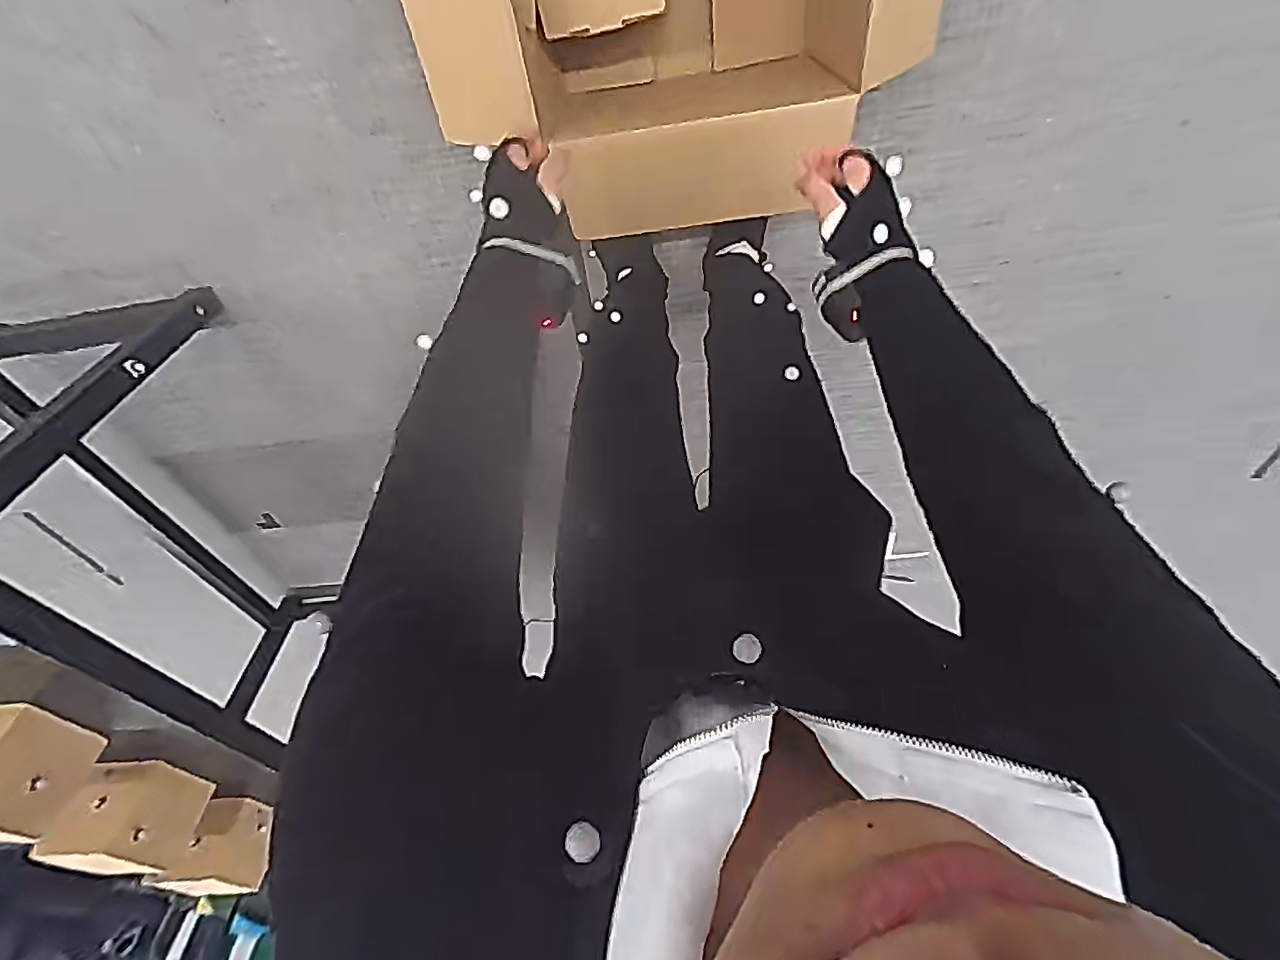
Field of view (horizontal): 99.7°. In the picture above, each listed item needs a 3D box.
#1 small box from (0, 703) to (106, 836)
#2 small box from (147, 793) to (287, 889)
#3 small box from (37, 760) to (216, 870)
[{"bbox_3d":[-1.110,0.501,0.936,0.168,0.176,0.179,-4,136,5],"label":"small box"},{"bbox_3d":[-1.027,0.889,1.332,0.179,0.176,0.168,-8,135,7],"label":"small box"},{"bbox_3d":[-1.067,0.705,1.143,0.168,0.176,0.179,-5,135,7],"label":"small box"}]
